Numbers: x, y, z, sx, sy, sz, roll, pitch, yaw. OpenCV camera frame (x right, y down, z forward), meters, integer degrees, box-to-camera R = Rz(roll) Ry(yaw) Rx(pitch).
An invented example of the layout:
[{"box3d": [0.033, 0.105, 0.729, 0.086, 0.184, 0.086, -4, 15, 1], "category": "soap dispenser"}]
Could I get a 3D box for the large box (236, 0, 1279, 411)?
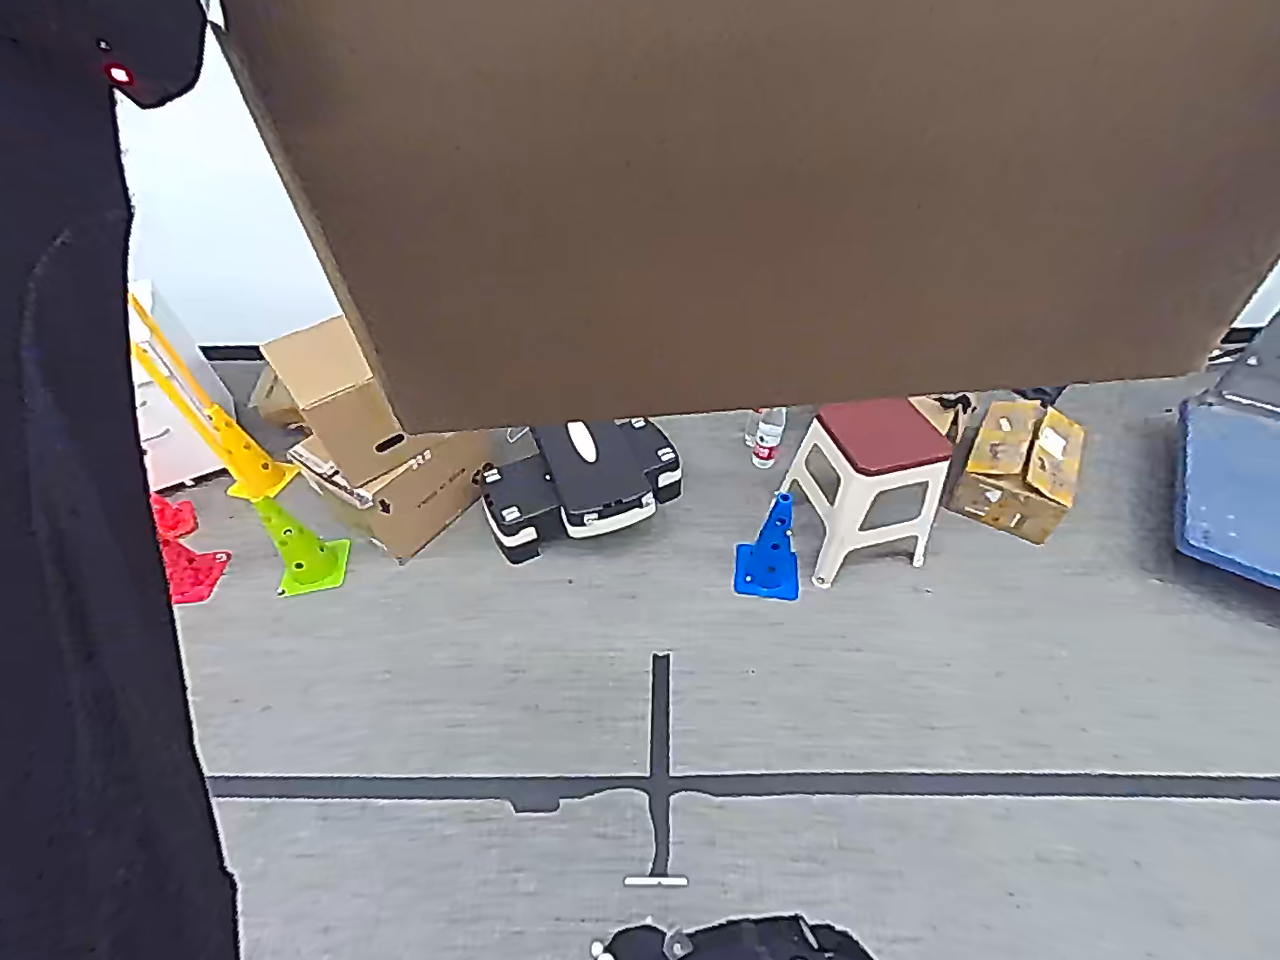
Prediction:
[{"box3d": [0.058, -0.257, 0.287, 0.408, 0.320, 0.320, -4, 43, -1], "category": "large box"}]
